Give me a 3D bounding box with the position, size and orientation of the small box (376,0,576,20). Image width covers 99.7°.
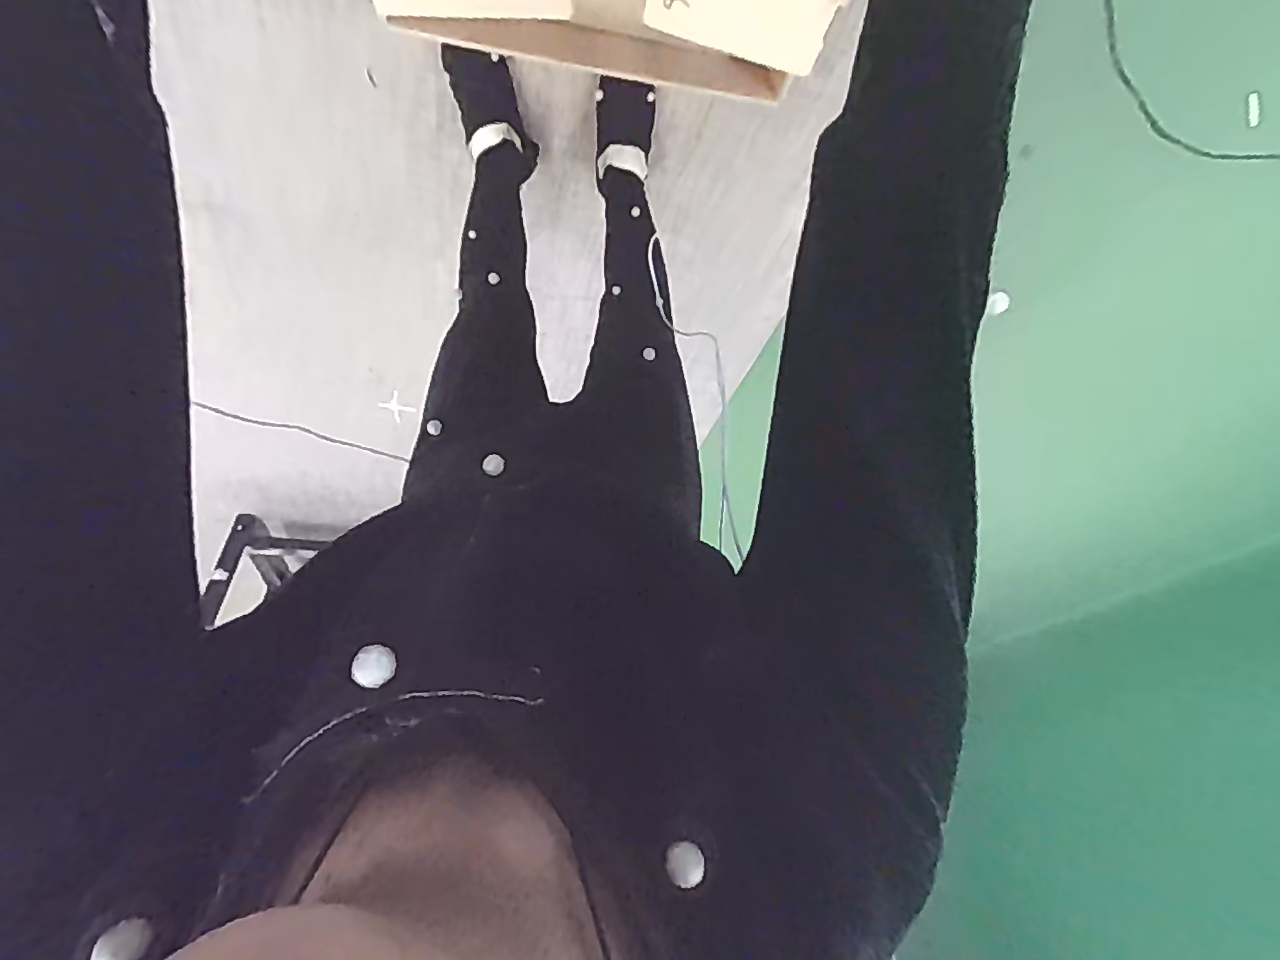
[{"bbox_3d":[-0.148,-0.529,0.462,0.179,0.176,0.168,-2,147,-4],"label":"small box"}]

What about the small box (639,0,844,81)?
[{"bbox_3d":[0.102,-0.517,0.497,0.179,0.176,0.168,7,145,-15],"label":"small box"}]
